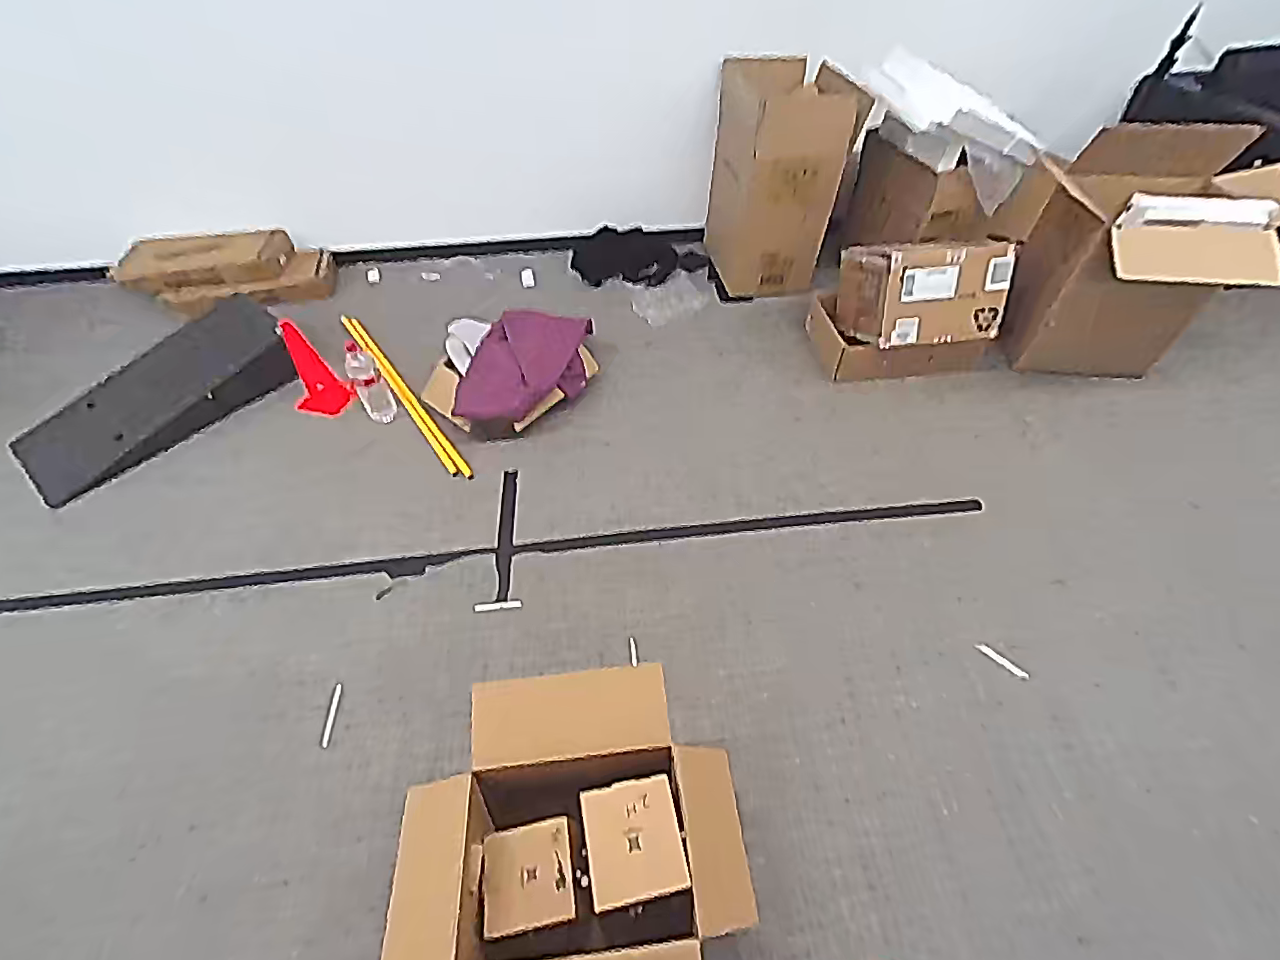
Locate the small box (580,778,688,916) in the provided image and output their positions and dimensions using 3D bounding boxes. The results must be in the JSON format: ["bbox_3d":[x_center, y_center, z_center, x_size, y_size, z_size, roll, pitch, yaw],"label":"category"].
[{"bbox_3d":[-0.017,0.682,1.004,0.168,0.176,0.179,-7,51,-10],"label":"small box"}]
